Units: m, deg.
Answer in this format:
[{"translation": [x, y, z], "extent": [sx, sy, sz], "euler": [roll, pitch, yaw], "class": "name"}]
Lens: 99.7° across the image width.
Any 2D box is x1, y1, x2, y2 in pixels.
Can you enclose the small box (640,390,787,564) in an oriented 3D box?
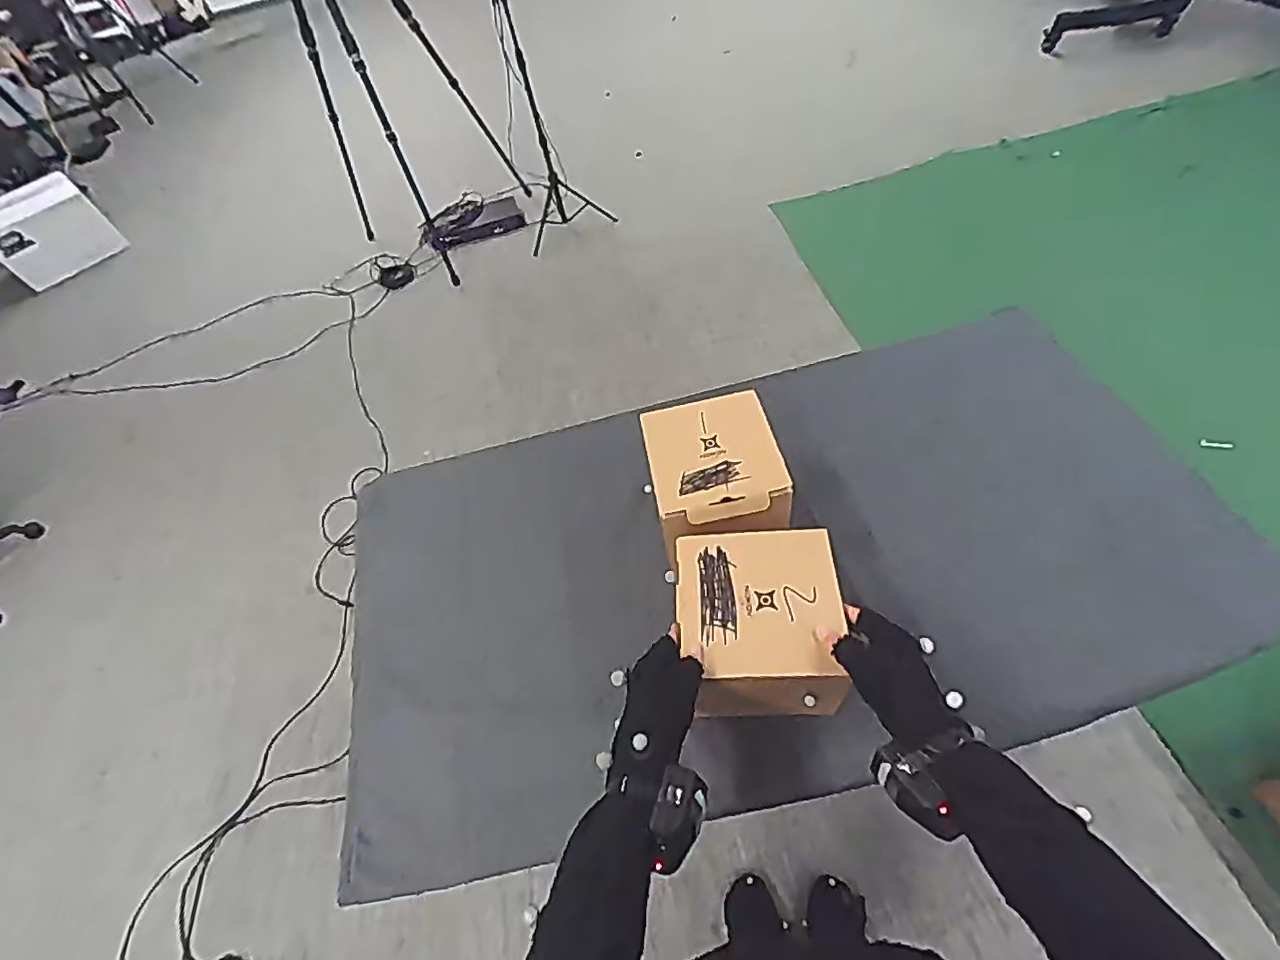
[{"translation": [0.103, 0.005, 0.770], "extent": [0.168, 0.176, 0.179], "euler": [-12, 54, 2], "class": "small box"}]
